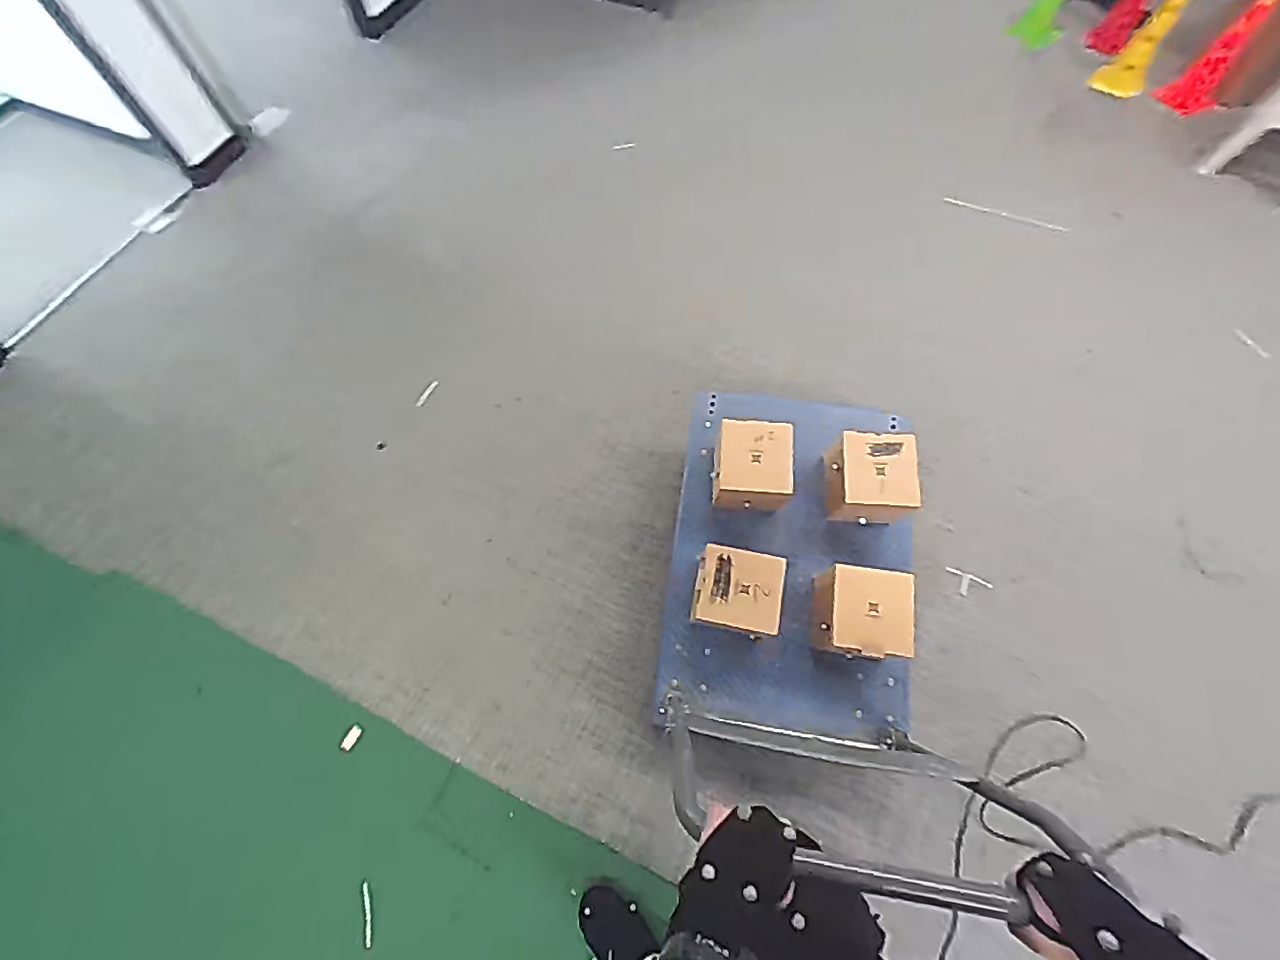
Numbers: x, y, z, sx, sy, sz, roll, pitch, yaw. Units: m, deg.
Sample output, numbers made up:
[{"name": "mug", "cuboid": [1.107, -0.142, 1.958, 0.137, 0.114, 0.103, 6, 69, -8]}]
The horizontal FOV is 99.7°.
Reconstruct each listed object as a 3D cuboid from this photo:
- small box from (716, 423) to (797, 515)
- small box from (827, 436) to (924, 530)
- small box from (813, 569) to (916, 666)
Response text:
[{"name": "small box", "cuboid": [0.278, -0.021, 1.314, 0.168, 0.176, 0.179, 5, 72, 3]}, {"name": "small box", "cuboid": [0.554, 0.012, 1.295, 0.168, 0.176, 0.179, 4, 73, 4]}, {"name": "small box", "cuboid": [0.493, 0.307, 1.202, 0.168, 0.176, 0.179, 9, 73, 4]}]
